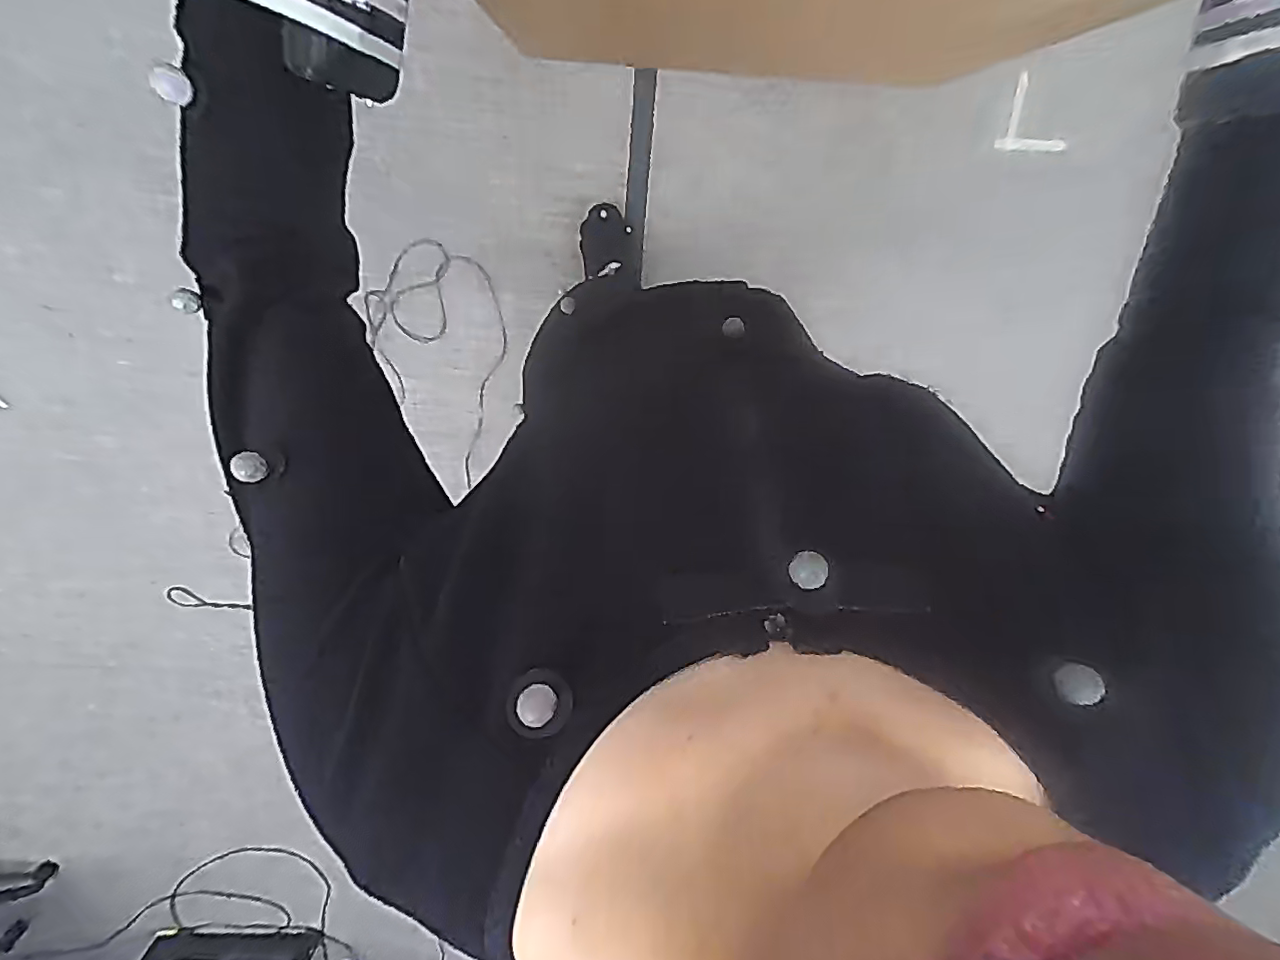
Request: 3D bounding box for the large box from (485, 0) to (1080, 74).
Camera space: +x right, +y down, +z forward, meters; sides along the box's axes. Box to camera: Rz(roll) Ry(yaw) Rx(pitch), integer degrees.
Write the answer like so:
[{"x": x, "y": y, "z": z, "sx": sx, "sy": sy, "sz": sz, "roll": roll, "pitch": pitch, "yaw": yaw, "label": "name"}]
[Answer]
[{"x": 0.089, "y": -0.469, "z": 0.324, "sx": 0.408, "sy": 0.320, "sz": 0.320, "roll": 2, "pitch": 118, "yaw": -1, "label": "large box"}]
